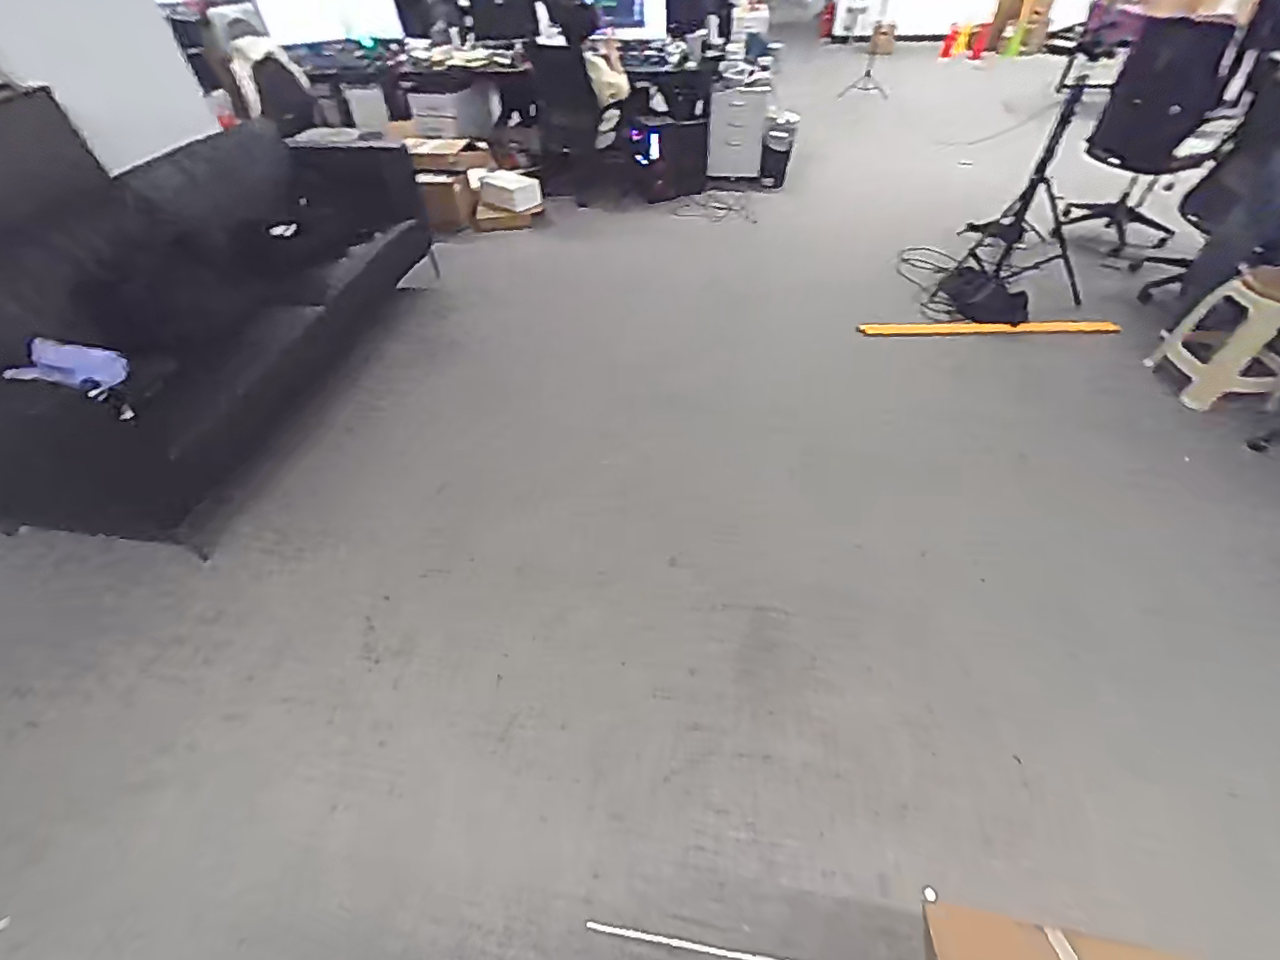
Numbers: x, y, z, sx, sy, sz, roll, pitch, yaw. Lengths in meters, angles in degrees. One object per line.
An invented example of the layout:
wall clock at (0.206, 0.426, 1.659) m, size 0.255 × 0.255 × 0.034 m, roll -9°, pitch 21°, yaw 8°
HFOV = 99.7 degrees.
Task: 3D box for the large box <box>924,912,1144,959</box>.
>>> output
large box at (0.489, 0.757, 0.538) m, size 0.320 × 0.408 × 0.320 m, roll 1°, pitch 84°, yaw 20°
